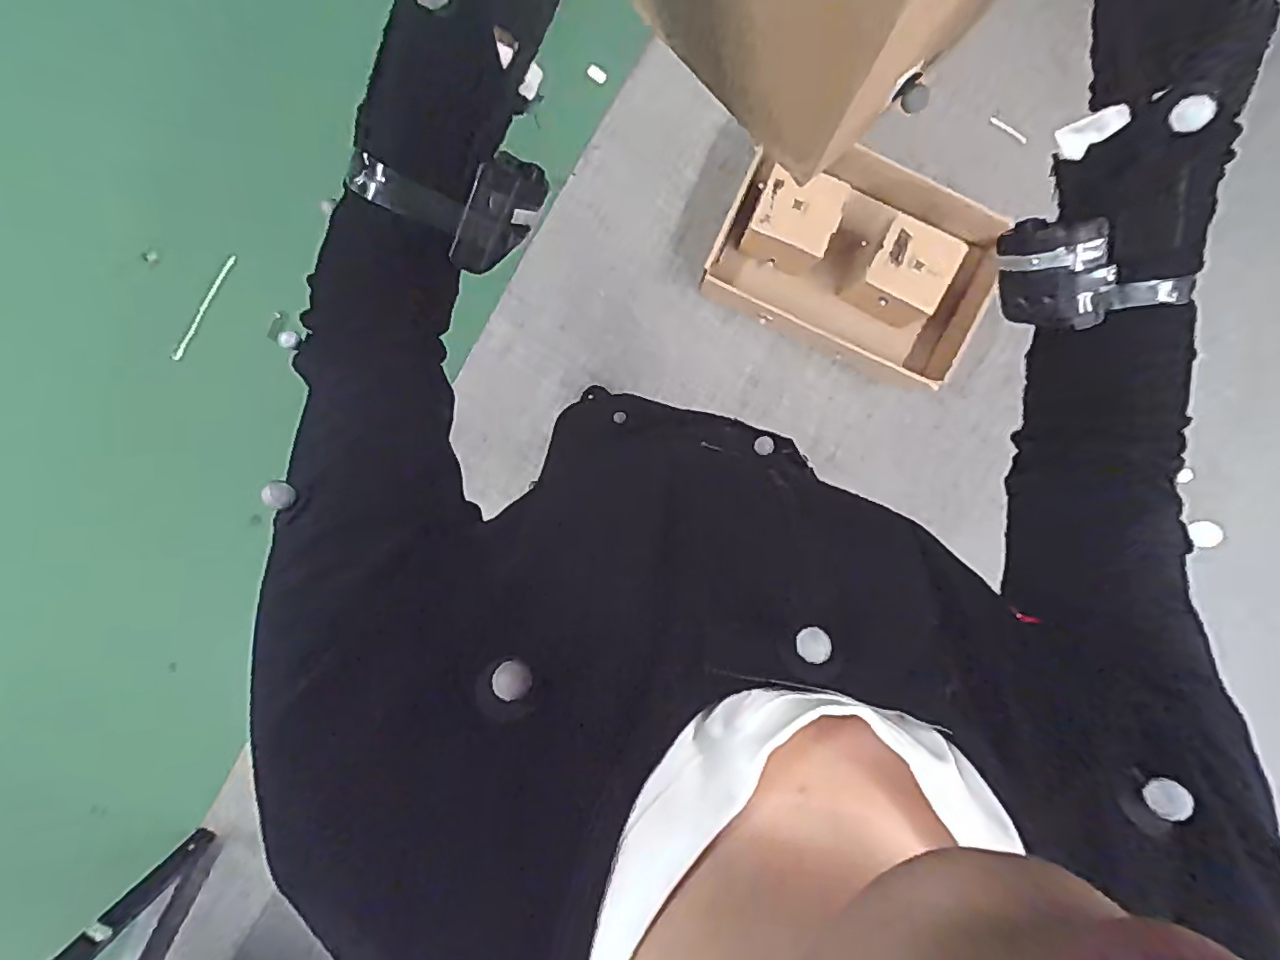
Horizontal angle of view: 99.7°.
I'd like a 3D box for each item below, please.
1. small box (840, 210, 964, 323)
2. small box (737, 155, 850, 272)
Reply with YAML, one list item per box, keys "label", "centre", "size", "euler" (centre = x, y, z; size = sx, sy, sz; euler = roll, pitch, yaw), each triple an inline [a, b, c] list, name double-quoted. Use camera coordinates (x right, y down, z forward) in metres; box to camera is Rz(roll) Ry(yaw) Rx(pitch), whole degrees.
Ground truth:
- label: "small box"
  centre: [0.602, -0.489, 1.270]
  size: [0.179, 0.176, 0.168]
  euler: [27, 96, -1]
- label: "small box"
  centre: [0.347, -0.607, 1.260]
  size: [0.179, 0.176, 0.168]
  euler: [22, 95, -3]
